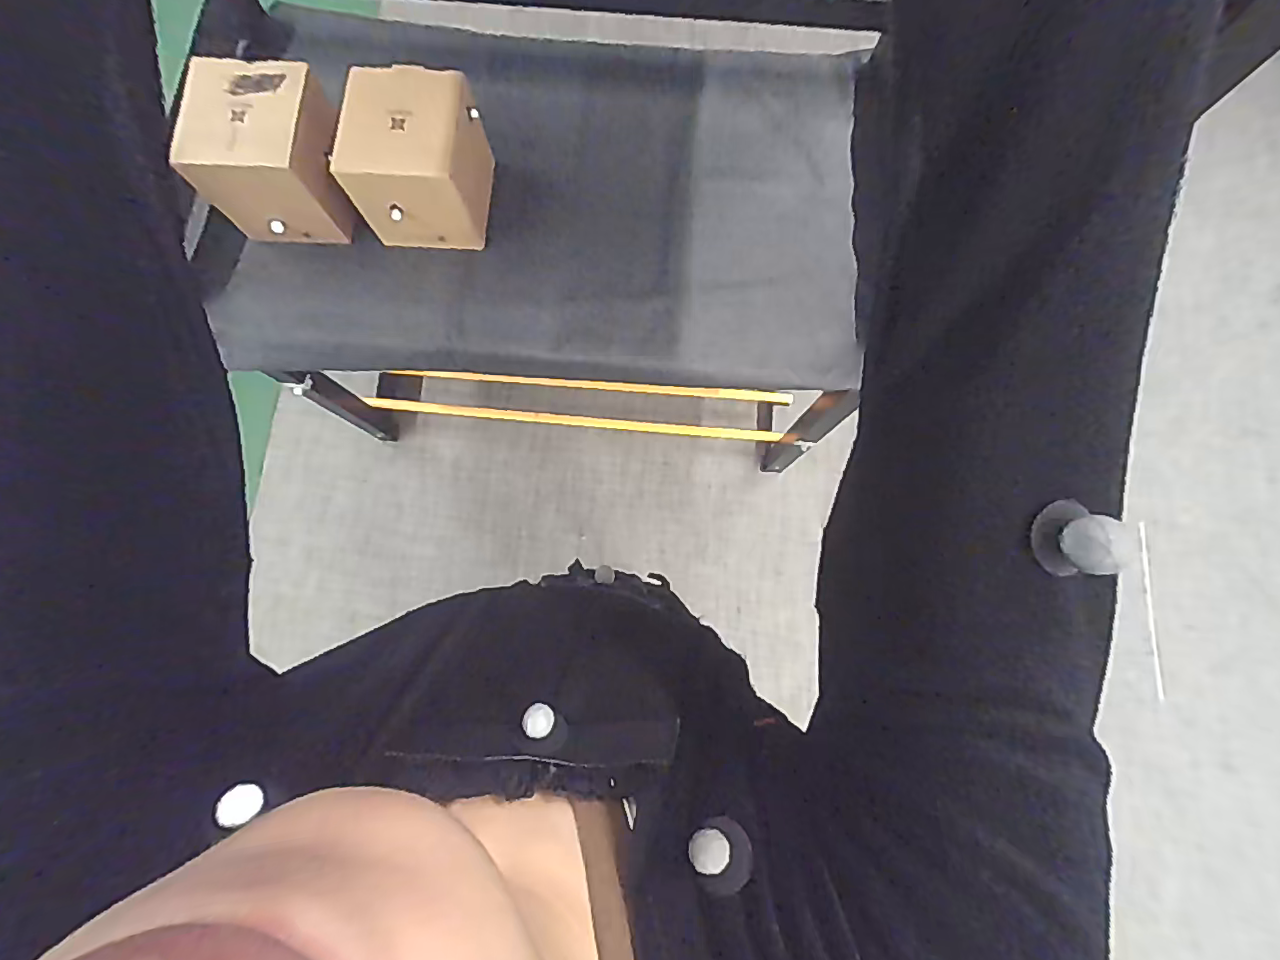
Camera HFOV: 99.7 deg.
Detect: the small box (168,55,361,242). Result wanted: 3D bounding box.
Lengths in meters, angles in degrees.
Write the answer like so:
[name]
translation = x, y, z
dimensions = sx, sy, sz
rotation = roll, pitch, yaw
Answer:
[small box]
translation = -0.551, -0.494, 0.823
dimensions = 0.168, 0.176, 0.179
rotation = 2, 79, 0
